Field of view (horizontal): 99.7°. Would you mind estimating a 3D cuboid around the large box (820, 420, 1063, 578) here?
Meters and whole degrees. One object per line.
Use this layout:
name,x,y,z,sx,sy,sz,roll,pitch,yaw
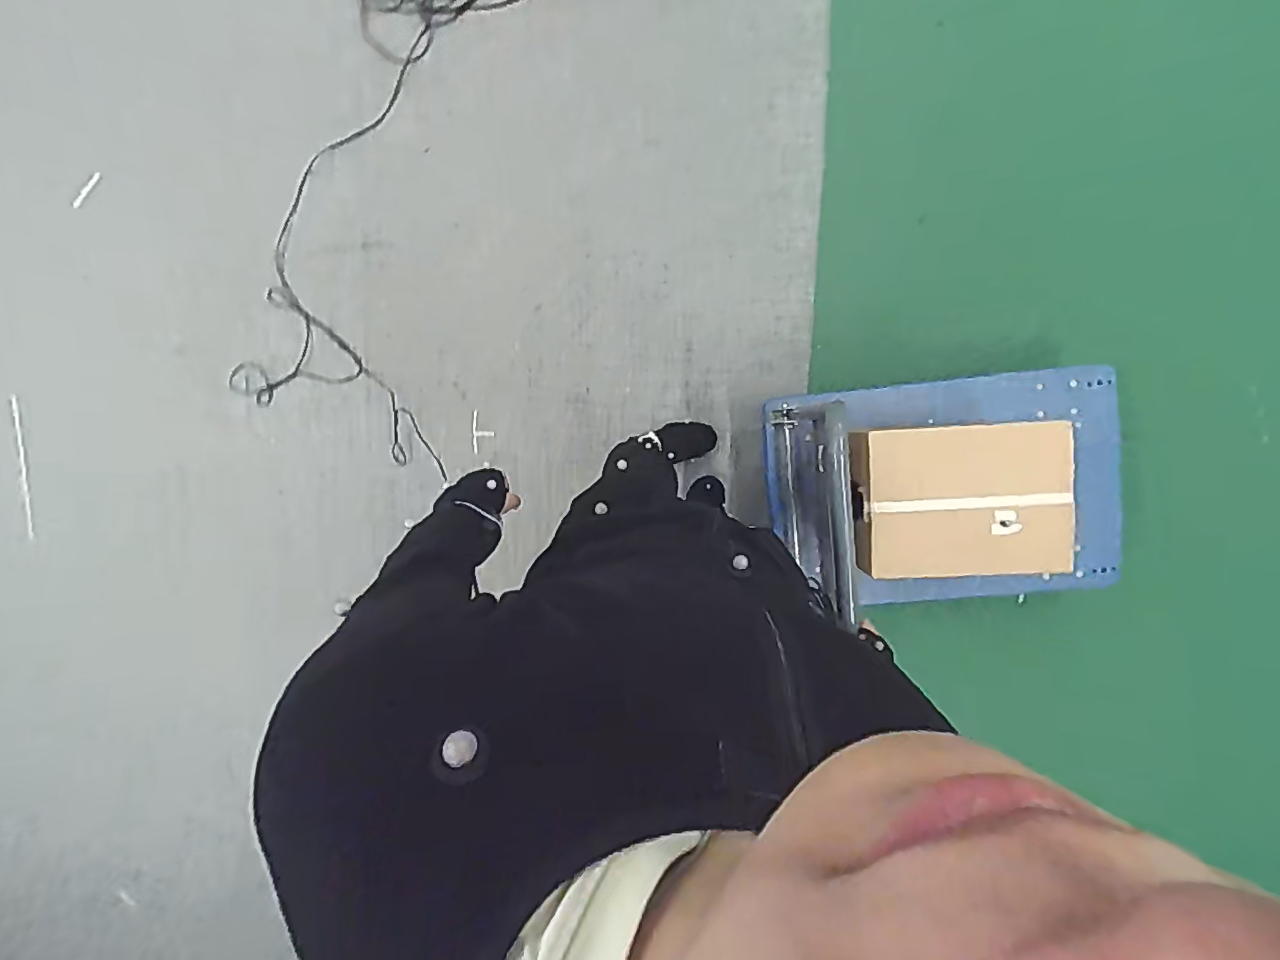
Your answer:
large box,0.667,0.032,1.261,0.408,0.320,0.320,-2,95,3
